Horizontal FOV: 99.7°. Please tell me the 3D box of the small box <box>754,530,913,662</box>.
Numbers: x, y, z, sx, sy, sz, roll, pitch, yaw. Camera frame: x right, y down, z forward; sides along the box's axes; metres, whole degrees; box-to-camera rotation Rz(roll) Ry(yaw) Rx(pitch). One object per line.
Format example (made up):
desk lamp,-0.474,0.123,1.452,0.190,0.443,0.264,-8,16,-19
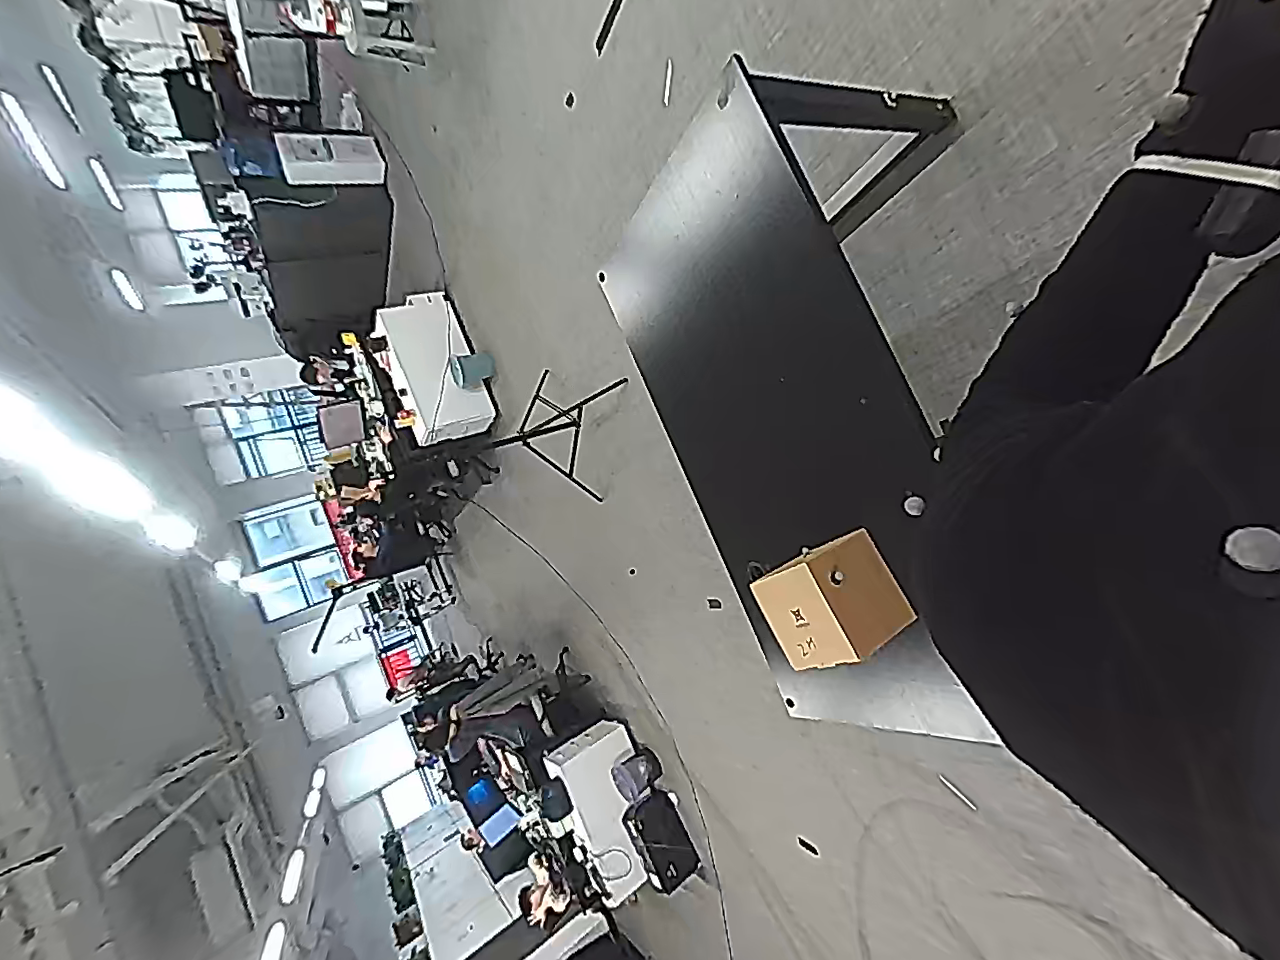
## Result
small box,0.347,0.204,0.979,0.179,0.176,0.168,62,149,11
